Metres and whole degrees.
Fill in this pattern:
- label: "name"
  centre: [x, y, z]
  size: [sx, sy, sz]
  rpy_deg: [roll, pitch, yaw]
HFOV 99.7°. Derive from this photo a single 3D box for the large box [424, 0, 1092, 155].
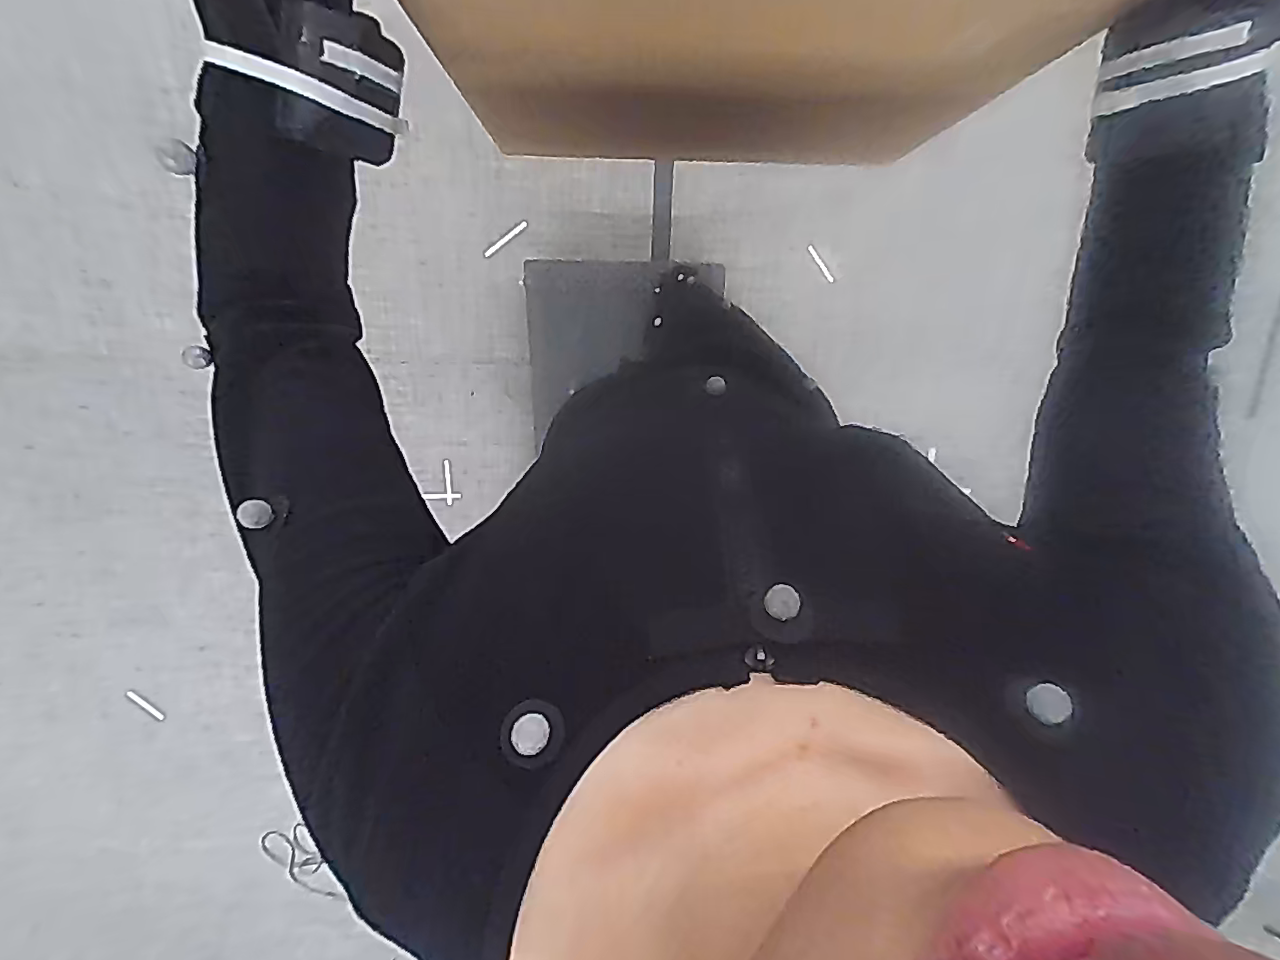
- label: "large box"
  centre: [0.064, -0.448, 0.379]
  size: [0.408, 0.320, 0.320]
  rpy_deg: [0, 106, -2]
